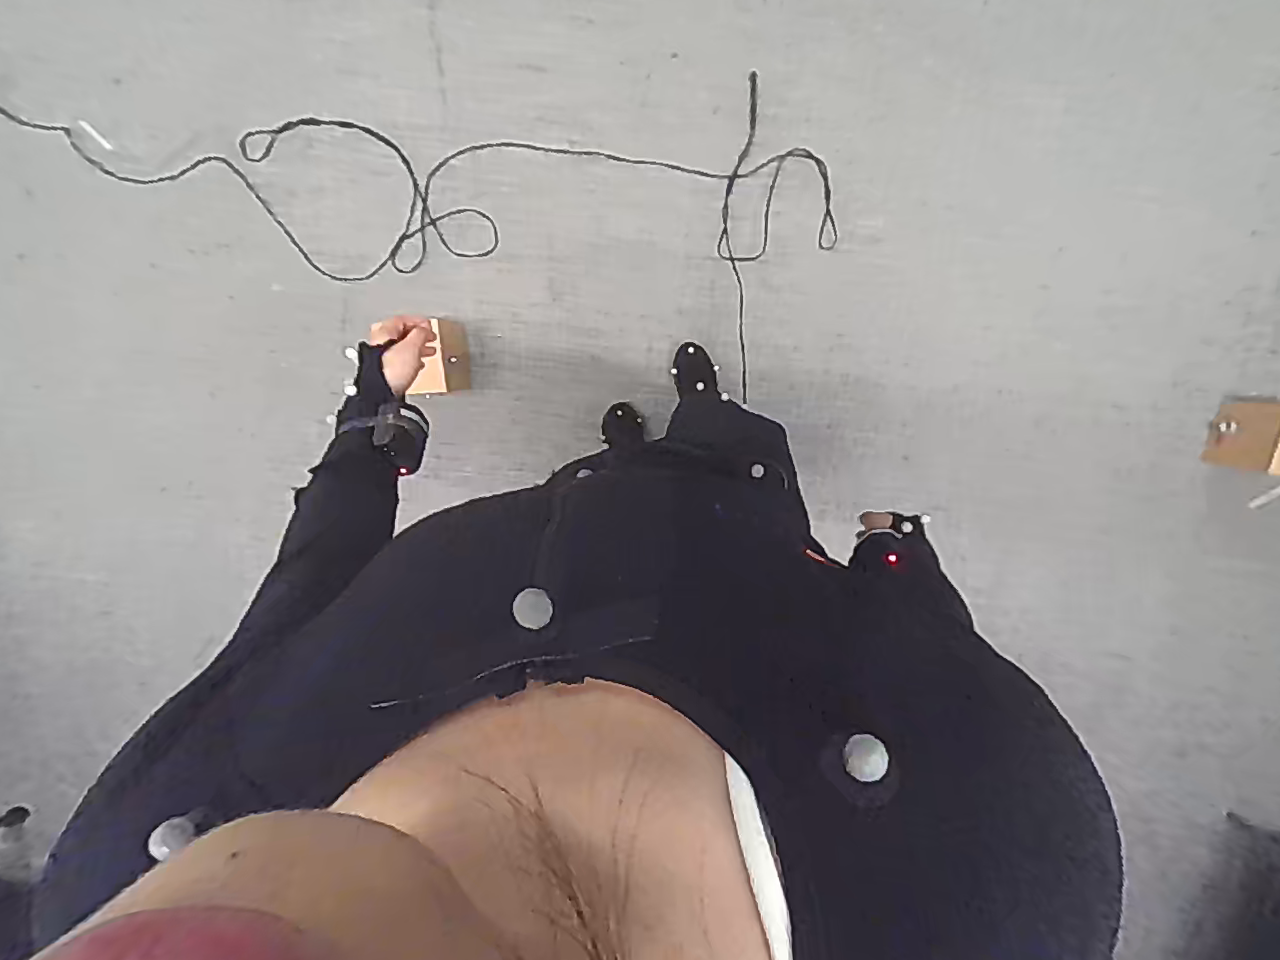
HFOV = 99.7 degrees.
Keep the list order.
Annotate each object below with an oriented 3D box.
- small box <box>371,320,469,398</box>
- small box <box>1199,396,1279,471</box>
[{"bbox_3d":[-0.545,-0.304,1.365,0.168,0.176,0.179,-3,102,4],"label":"small box"},{"bbox_3d":[1.556,-0.113,1.323,0.179,0.176,0.168,6,102,3],"label":"small box"}]
